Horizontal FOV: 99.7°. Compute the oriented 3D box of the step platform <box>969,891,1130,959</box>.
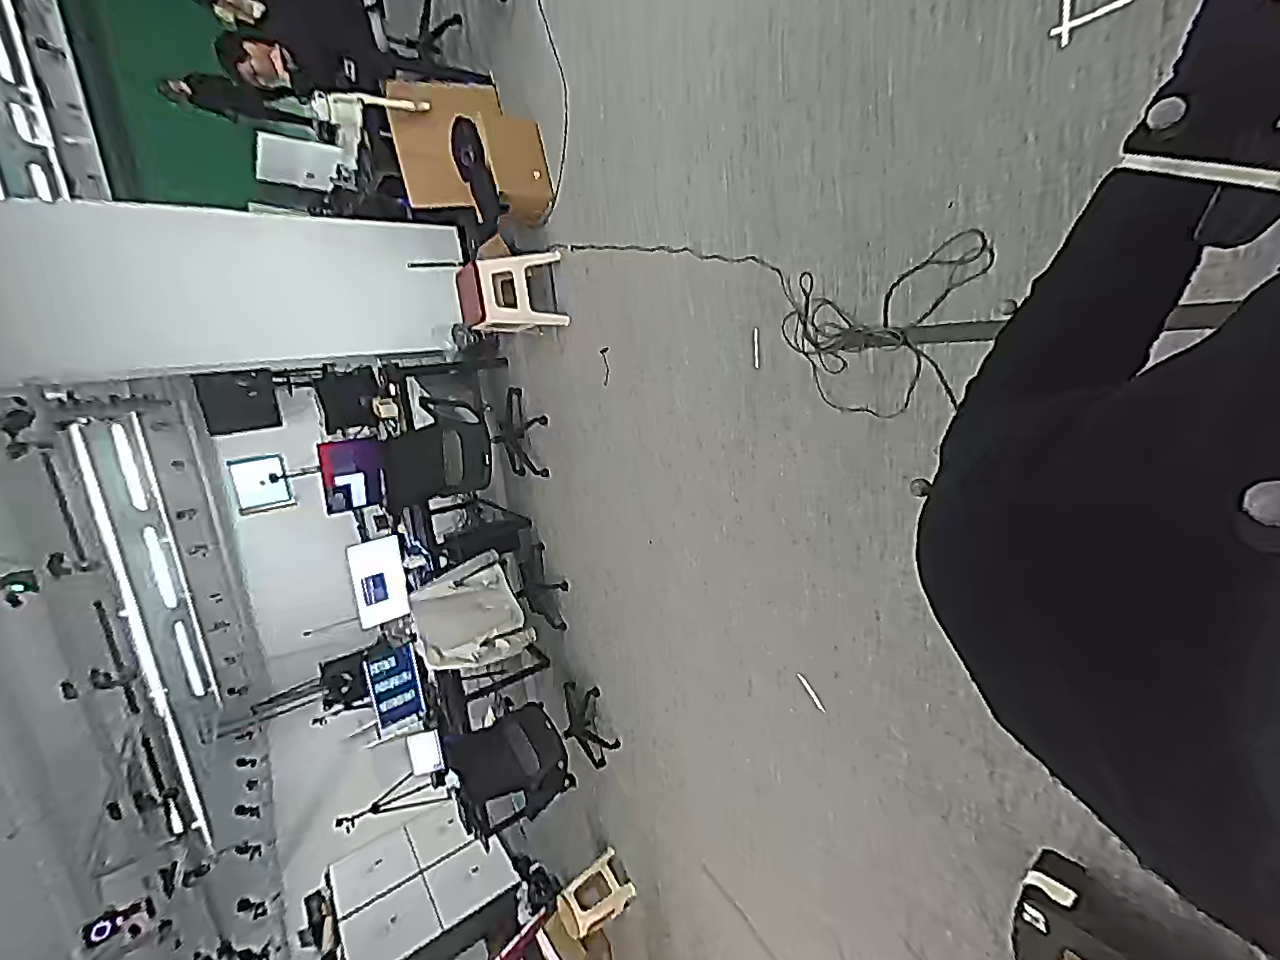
[{"bbox_3d":[1.076,1.208,1.094,0.684,0.204,0.286,10,111,54],"label":"step platform"}]
